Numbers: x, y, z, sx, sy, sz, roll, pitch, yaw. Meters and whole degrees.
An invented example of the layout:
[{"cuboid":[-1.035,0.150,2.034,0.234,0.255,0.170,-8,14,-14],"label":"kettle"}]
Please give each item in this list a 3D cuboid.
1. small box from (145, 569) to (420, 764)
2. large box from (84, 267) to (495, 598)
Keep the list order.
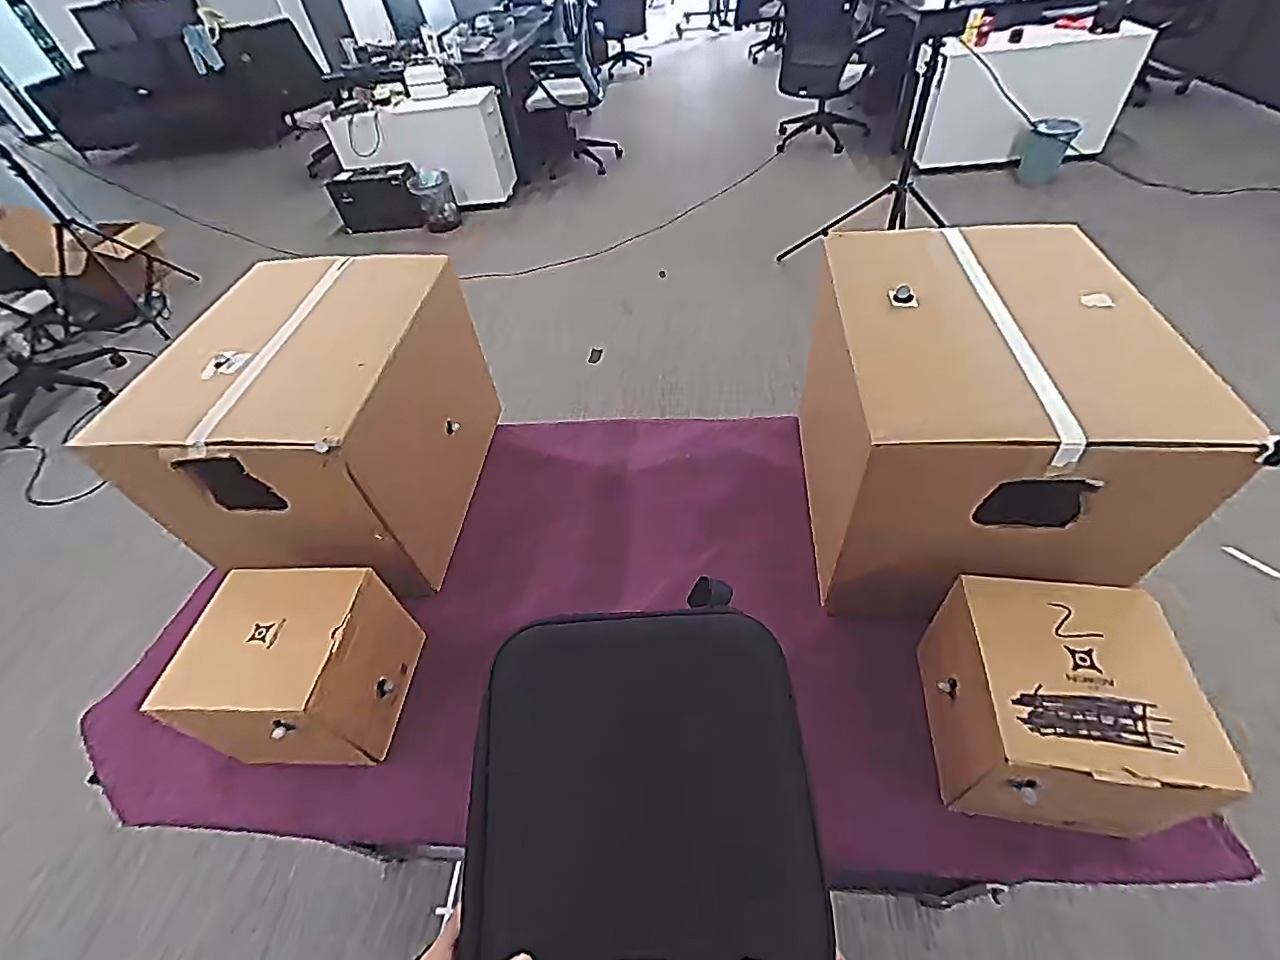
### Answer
[{"cuboid":[-0.393,0.222,0.635,0.179,0.176,0.168,-2,47,5],"label":"small box"},{"cuboid":[-0.439,-0.074,0.814,0.320,0.320,0.408,-1,50,5],"label":"large box"}]
